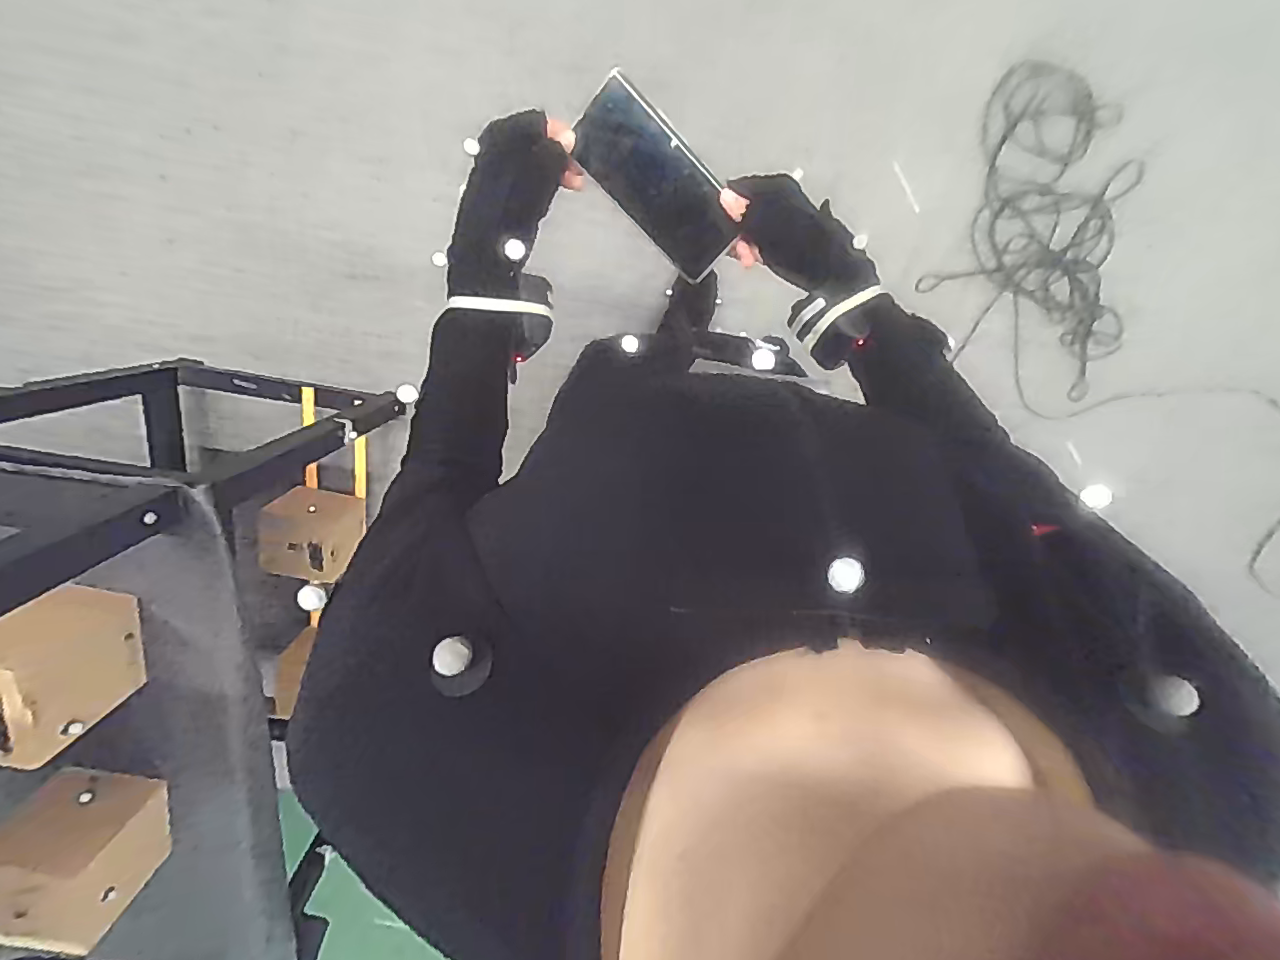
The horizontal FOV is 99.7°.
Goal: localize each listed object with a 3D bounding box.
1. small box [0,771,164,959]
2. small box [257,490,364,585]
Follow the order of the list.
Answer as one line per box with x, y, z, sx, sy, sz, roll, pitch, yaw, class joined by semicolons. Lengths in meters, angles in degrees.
-0.902;0.603;0.854;0.168;0.176;0.179;12;109;-5;small box
-0.816;0.137;1.352;0.179;0.176;0.168;12;108;-6;small box
